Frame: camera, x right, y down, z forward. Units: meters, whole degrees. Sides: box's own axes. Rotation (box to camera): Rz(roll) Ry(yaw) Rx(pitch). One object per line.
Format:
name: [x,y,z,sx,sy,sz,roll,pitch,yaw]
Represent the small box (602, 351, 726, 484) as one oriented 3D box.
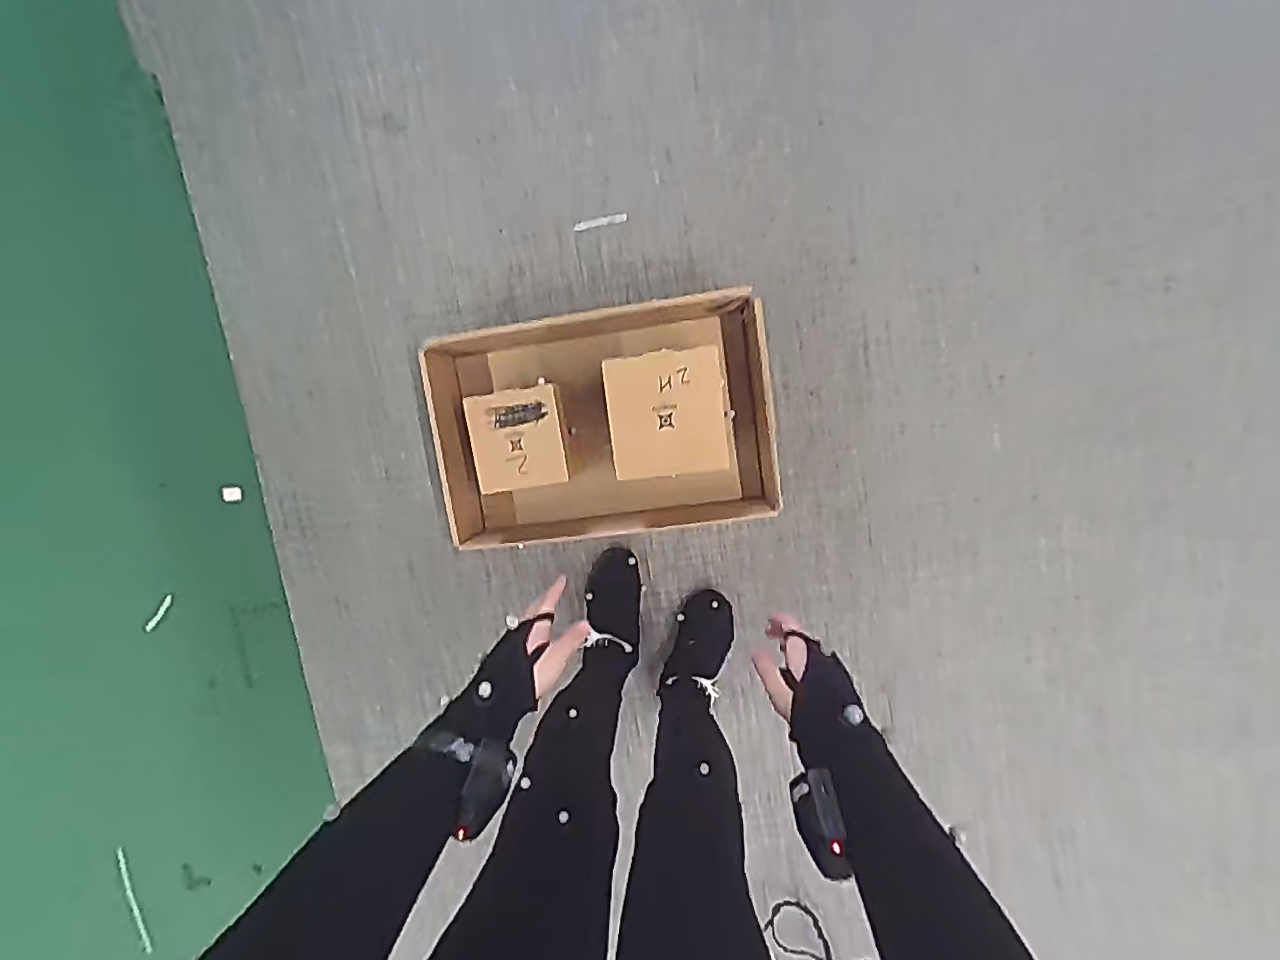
small box: [0.044,-0.098,0.840,0.168,0.176,0.179,-6,97,7]
